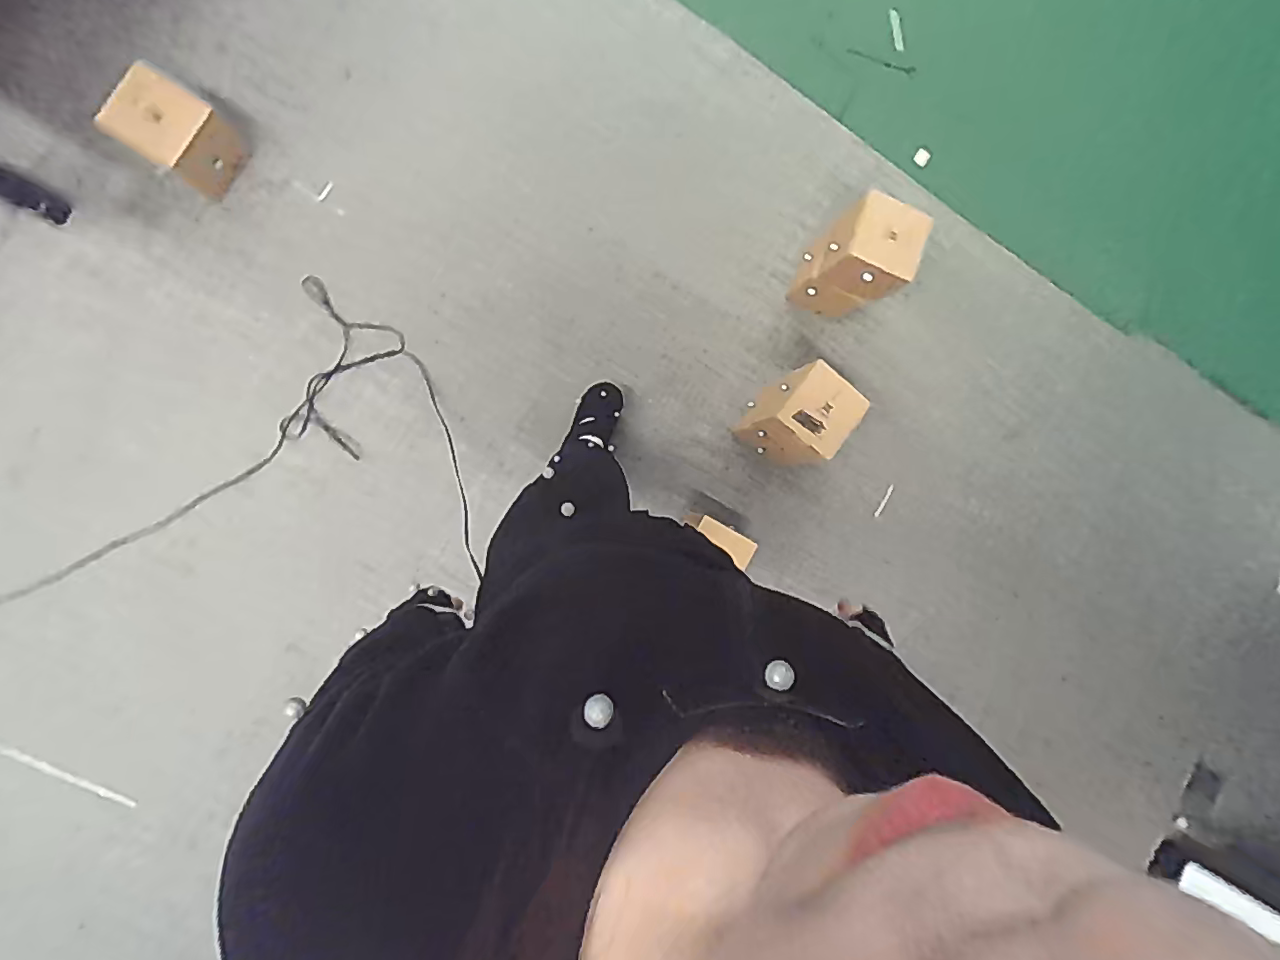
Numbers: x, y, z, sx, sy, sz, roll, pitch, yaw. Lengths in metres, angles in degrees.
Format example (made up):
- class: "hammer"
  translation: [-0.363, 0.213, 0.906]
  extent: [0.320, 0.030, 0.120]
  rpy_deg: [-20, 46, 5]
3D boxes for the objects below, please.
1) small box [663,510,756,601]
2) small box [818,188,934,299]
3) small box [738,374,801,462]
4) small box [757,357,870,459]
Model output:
- class: "small box"
  translation: [0.177, 0.192, 1.448]
  extent: [0.168, 0.176, 0.179]
  rpy_deg: [30, 87, -8]
- class: "small box"
  translation: [0.571, -0.570, 1.332]
  extent: [0.179, 0.176, 0.168]
  rpy_deg: [21, 88, -9]
- class: "small box"
  translation: [0.388, -0.162, 1.475]
  extent: [0.168, 0.176, 0.179]
  rpy_deg: [38, 86, -8]
- class: "small box"
  translation: [0.406, -0.164, 1.310]
  extent: [0.168, 0.176, 0.179]
  rpy_deg: [39, 84, -7]
